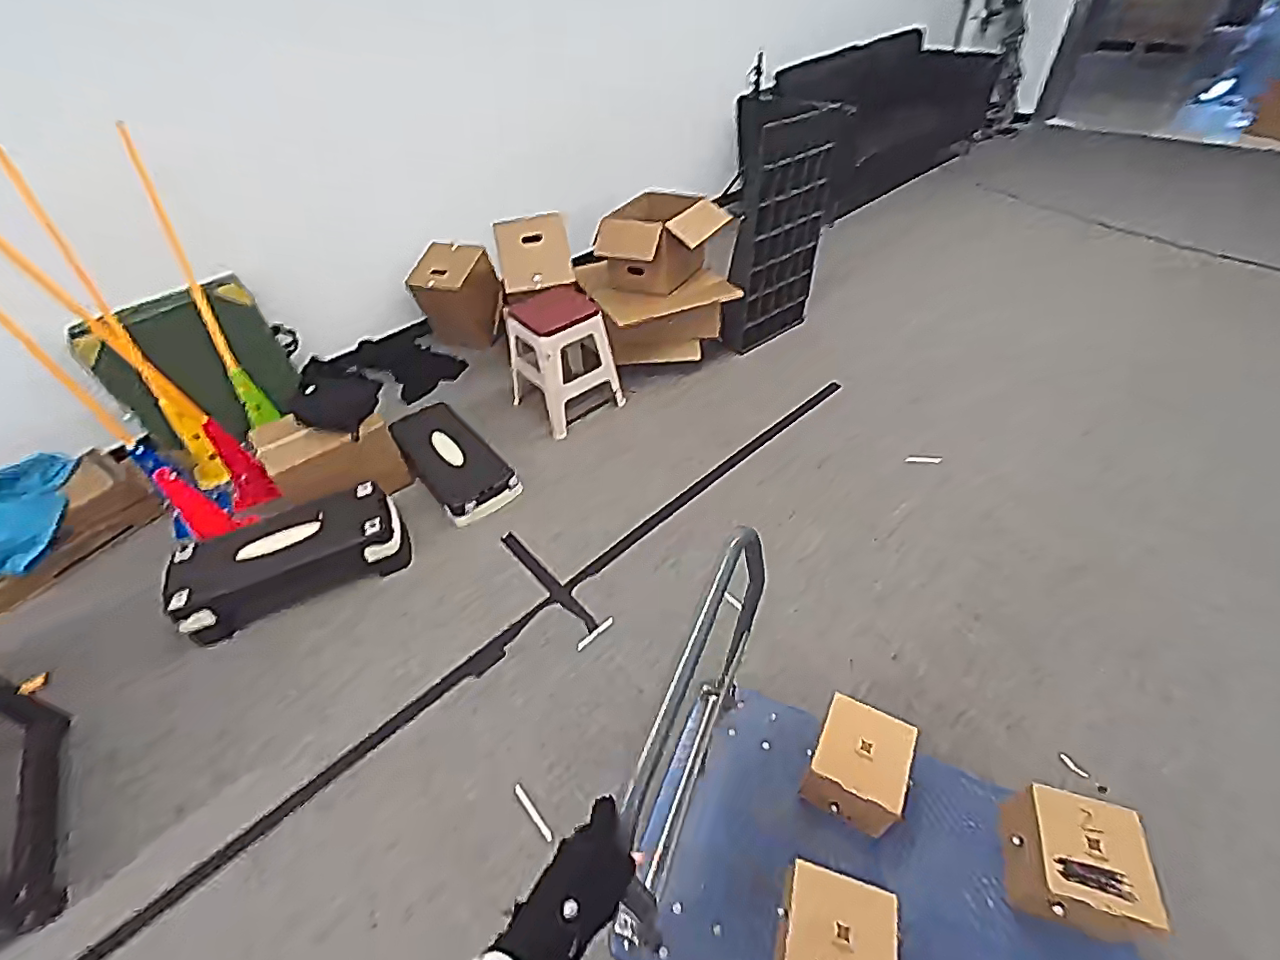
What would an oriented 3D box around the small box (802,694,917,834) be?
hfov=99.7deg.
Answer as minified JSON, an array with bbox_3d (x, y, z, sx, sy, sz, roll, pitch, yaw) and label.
[{"bbox_3d":[0.445,0.584,1.112,0.168,0.176,0.179,20,51,22],"label":"small box"}]

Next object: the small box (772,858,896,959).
[{"bbox_3d":[0.323,0.787,0.915,0.168,0.176,0.179,12,46,16],"label":"small box"}]
